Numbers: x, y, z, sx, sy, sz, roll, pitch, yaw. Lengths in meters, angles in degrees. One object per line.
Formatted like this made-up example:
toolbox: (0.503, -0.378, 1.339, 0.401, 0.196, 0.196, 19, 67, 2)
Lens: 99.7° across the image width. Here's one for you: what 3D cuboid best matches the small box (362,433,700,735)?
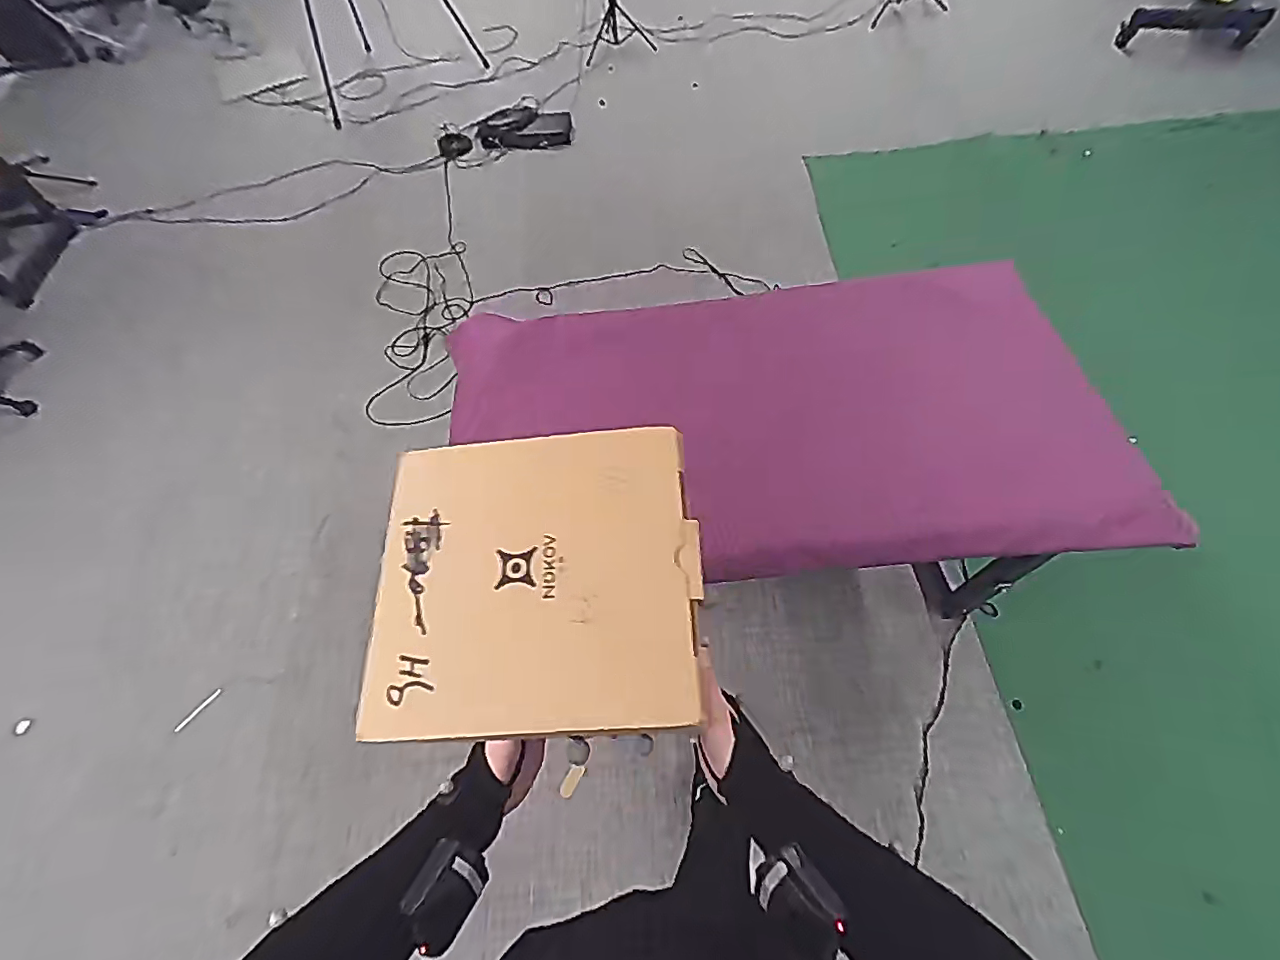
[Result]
small box: (-0.053, 0.084, 0.378, 0.179, 0.176, 0.168, -5, 64, 4)
